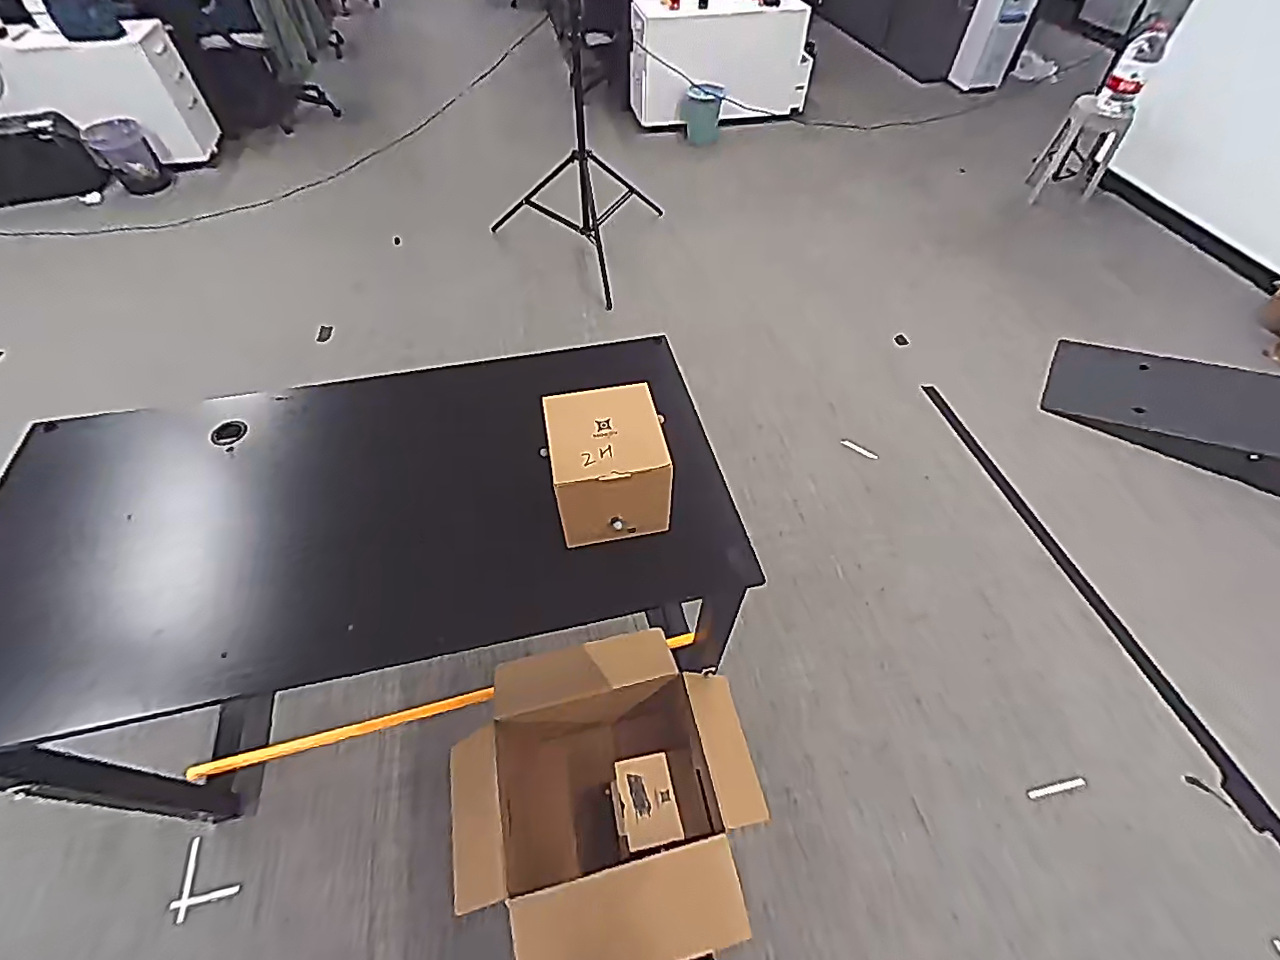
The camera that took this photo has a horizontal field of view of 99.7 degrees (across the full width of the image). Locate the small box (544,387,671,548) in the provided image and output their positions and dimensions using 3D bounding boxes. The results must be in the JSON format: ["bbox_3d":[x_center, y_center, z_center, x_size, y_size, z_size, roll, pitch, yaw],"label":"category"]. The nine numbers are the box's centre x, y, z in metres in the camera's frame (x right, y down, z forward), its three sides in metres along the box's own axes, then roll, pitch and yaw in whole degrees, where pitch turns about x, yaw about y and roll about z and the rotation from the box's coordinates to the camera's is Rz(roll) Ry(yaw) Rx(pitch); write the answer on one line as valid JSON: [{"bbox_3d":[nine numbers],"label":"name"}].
[{"bbox_3d":[-0.053,-0.018,0.847,0.168,0.176,0.179,-9,53,-6],"label":"small box"}]
